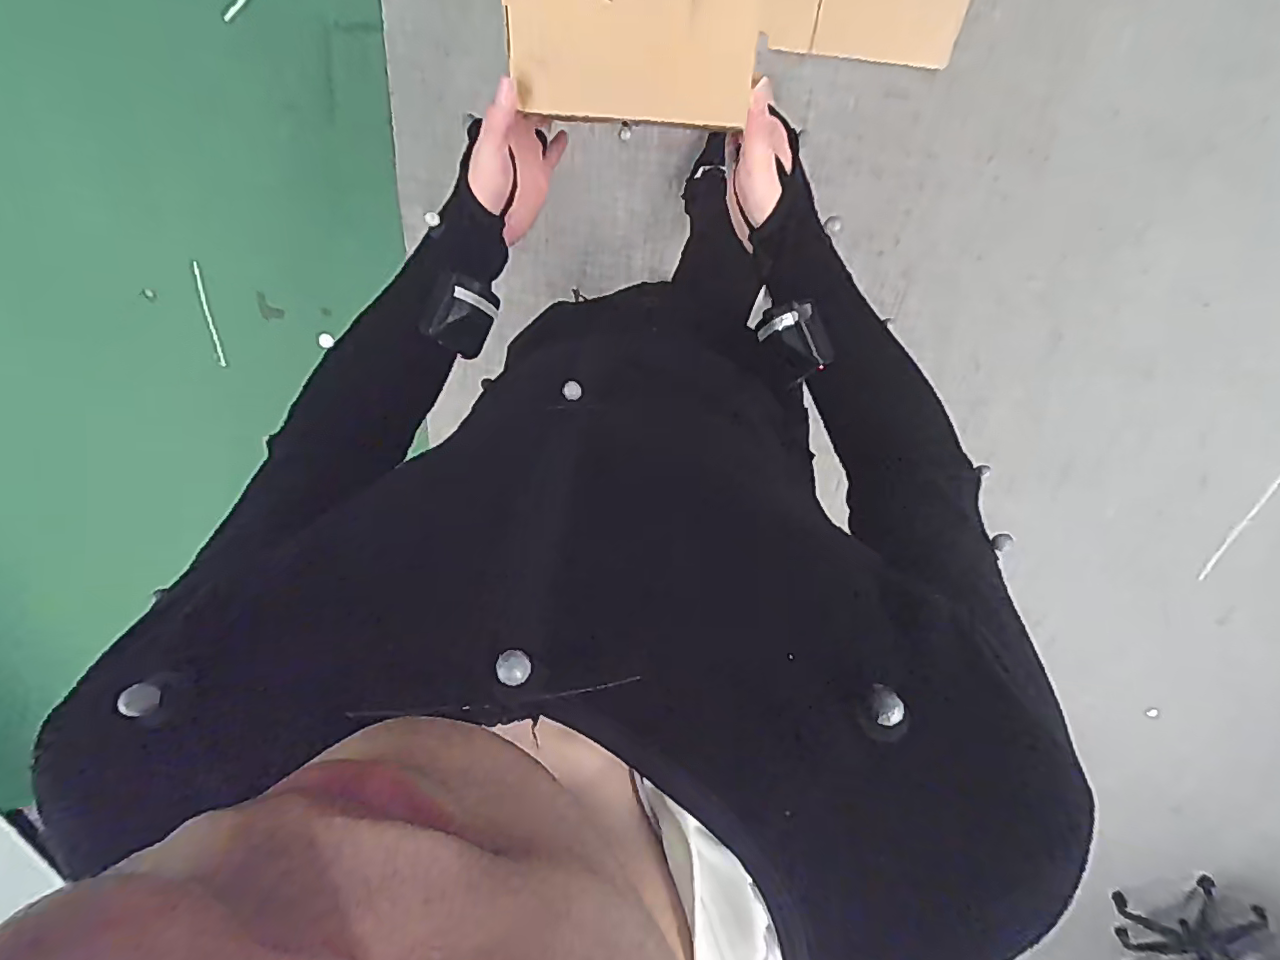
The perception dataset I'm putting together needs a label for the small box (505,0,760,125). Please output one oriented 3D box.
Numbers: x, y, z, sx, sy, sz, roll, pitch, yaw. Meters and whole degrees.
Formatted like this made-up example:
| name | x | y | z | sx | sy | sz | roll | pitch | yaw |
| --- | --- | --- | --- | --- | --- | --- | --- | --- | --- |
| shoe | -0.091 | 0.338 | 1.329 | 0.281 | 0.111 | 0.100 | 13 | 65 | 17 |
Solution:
| name | x | y | z | sx | sy | sz | roll | pitch | yaw |
| --- | --- | --- | --- | --- | --- | --- | --- | --- | --- |
| small box | 0.004 | -0.382 | 0.421 | 0.179 | 0.176 | 0.168 | 7 | 123 | 4 |
